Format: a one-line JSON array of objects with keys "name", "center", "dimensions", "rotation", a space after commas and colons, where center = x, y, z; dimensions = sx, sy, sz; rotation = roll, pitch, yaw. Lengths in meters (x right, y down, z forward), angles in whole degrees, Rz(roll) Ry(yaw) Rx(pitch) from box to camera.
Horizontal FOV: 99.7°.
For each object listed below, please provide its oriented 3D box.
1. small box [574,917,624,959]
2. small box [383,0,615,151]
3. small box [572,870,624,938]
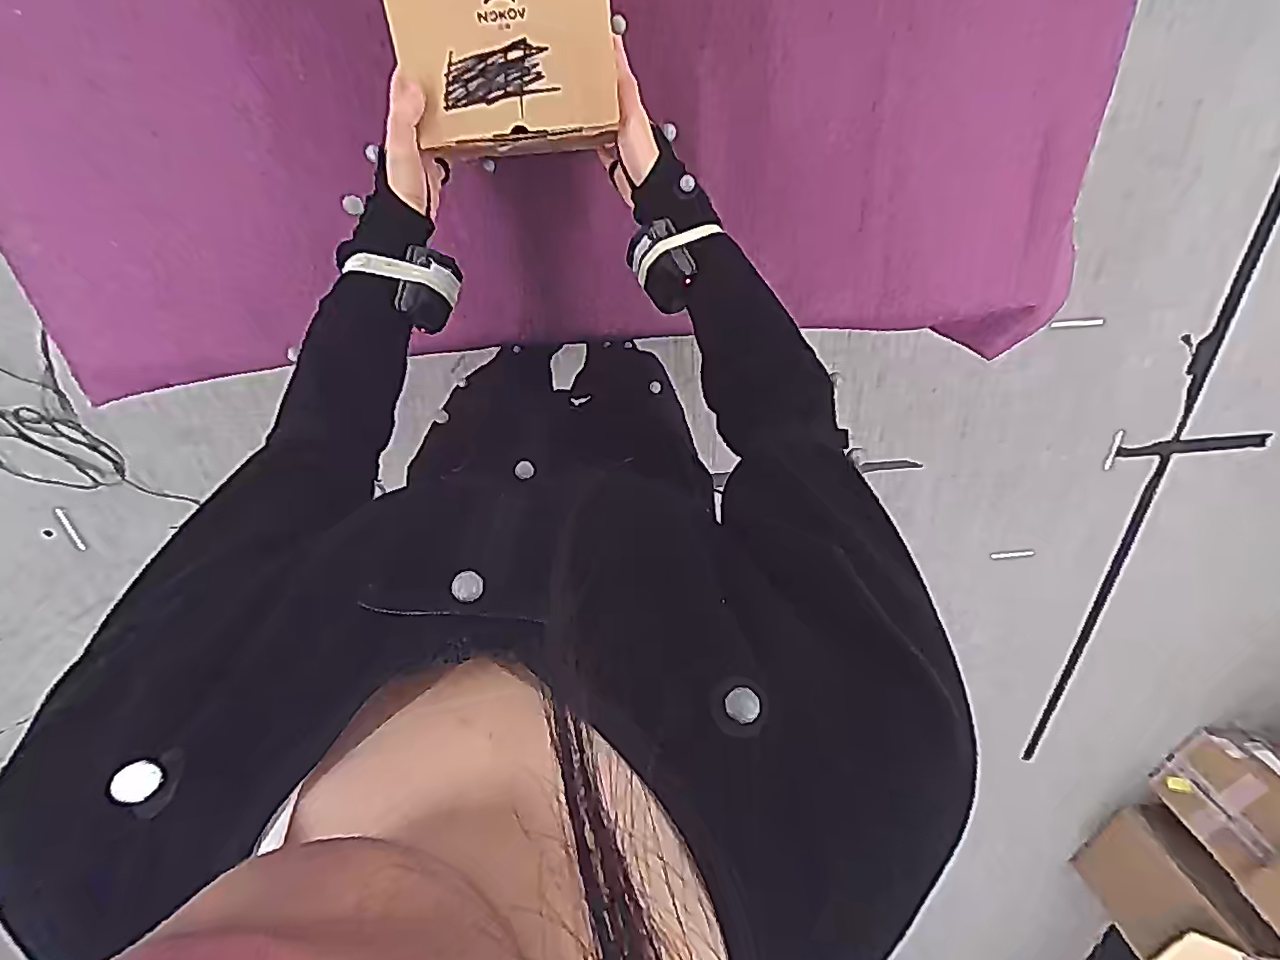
[{"name": "small box", "center": [-0.138, 1.657, 1.870], "dimensions": [0.168, 0.176, 0.179], "rotation": [-5, 117, -3]}, {"name": "small box", "center": [-0.109, -0.391, 0.465], "dimensions": [0.168, 0.176, 0.179], "rotation": [-6, 117, -1]}, {"name": "small box", "center": [-0.157, 1.590, 2.017], "dimensions": [0.179, 0.176, 0.168], "rotation": [-6, 117, -2]}]
